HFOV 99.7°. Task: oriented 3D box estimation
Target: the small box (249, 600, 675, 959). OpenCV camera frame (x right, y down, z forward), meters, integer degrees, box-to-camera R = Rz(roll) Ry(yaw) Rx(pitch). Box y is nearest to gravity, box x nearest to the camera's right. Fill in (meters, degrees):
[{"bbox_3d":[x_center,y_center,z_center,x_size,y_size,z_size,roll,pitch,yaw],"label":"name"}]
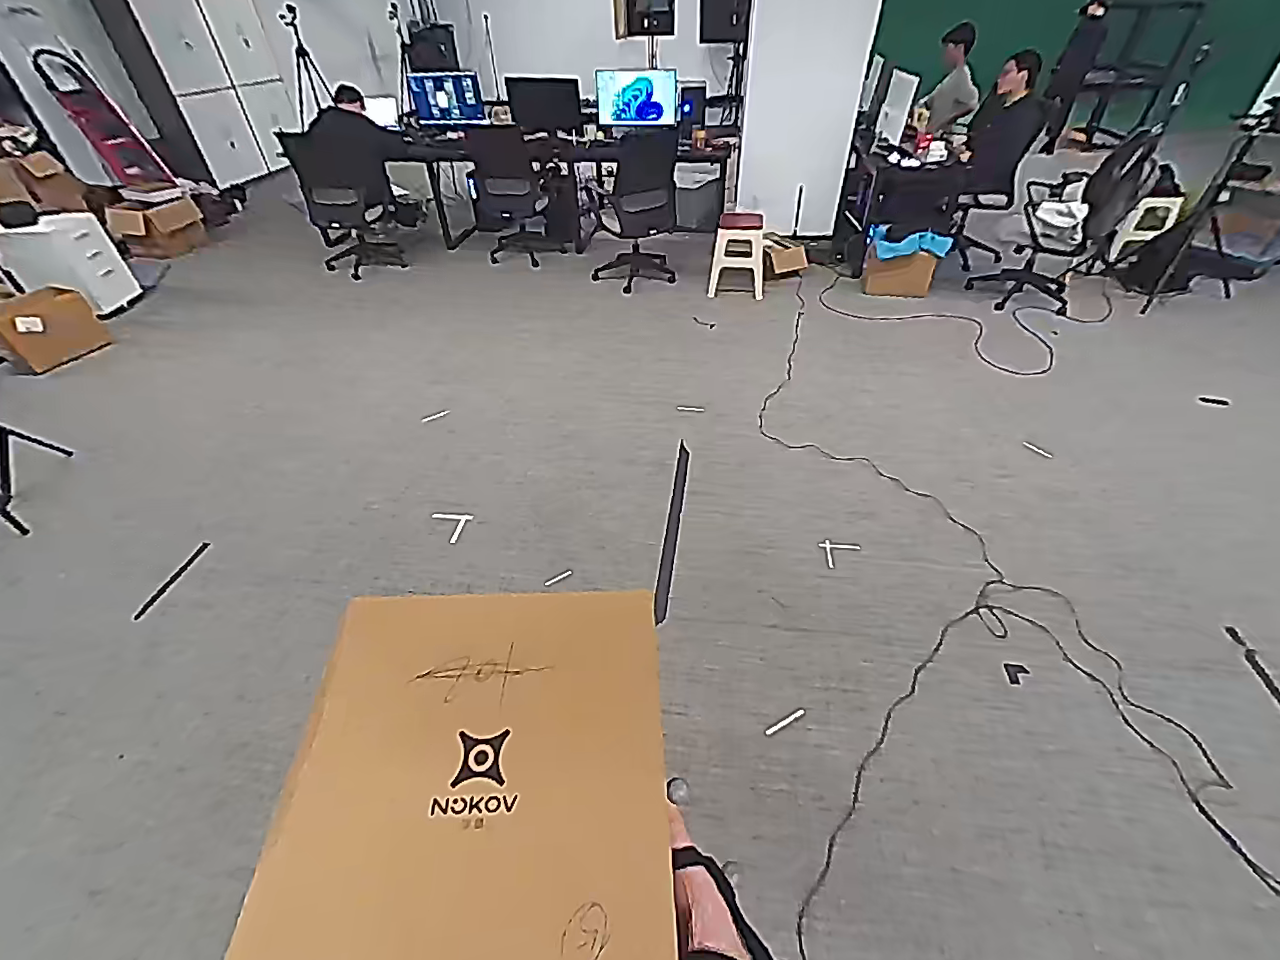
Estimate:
[{"bbox_3d":[-0.072,0.189,0.309,0.168,0.176,0.179,-1,47,-4],"label":"small box"}]
